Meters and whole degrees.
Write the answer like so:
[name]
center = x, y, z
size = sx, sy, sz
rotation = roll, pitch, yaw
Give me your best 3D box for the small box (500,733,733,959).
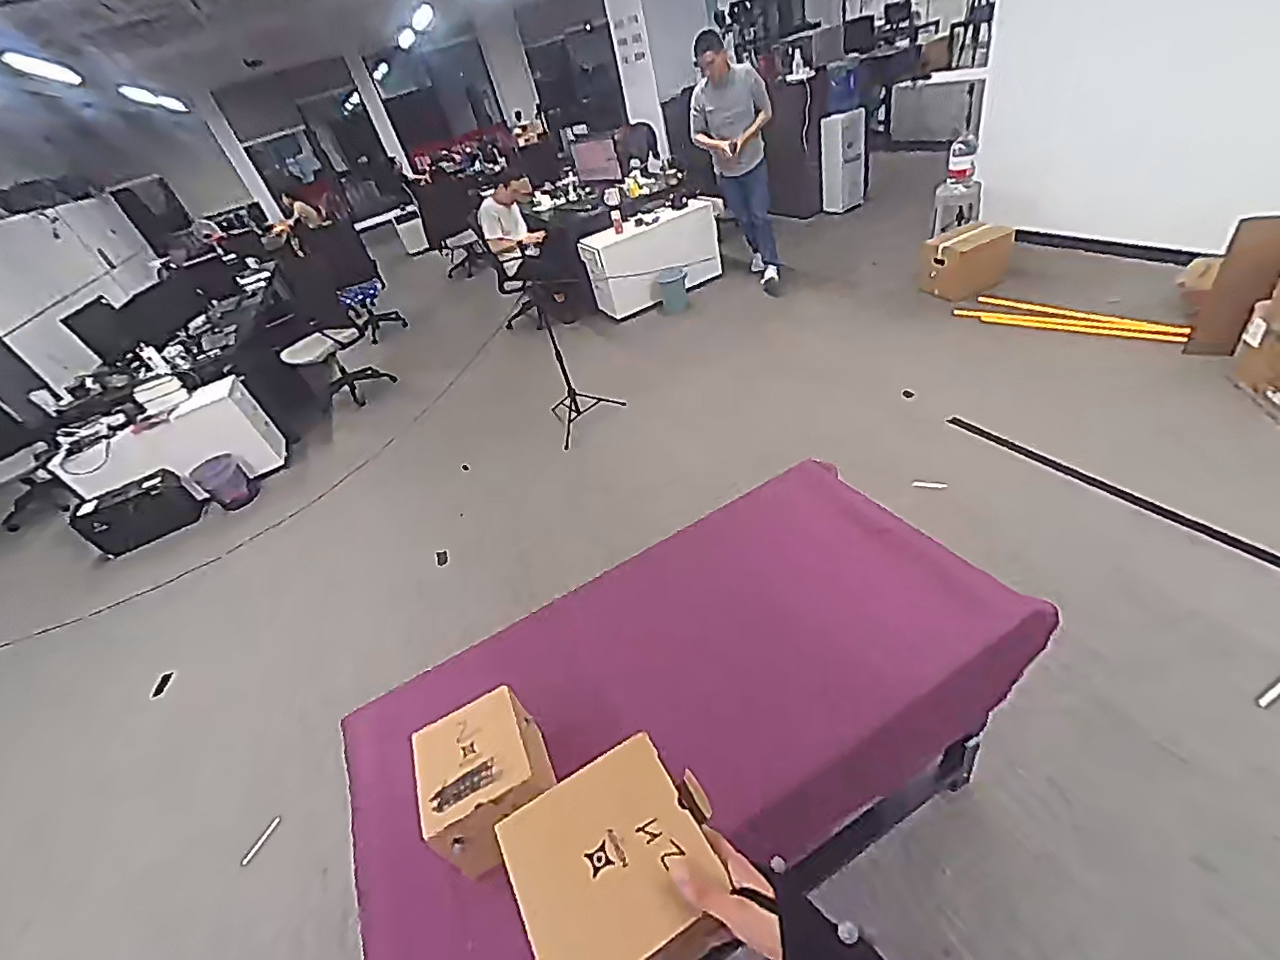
[small box]
center = -0.017, 0.411, 0.558
size = 0.179, 0.176, 0.168
rotation = -25, 44, -18
